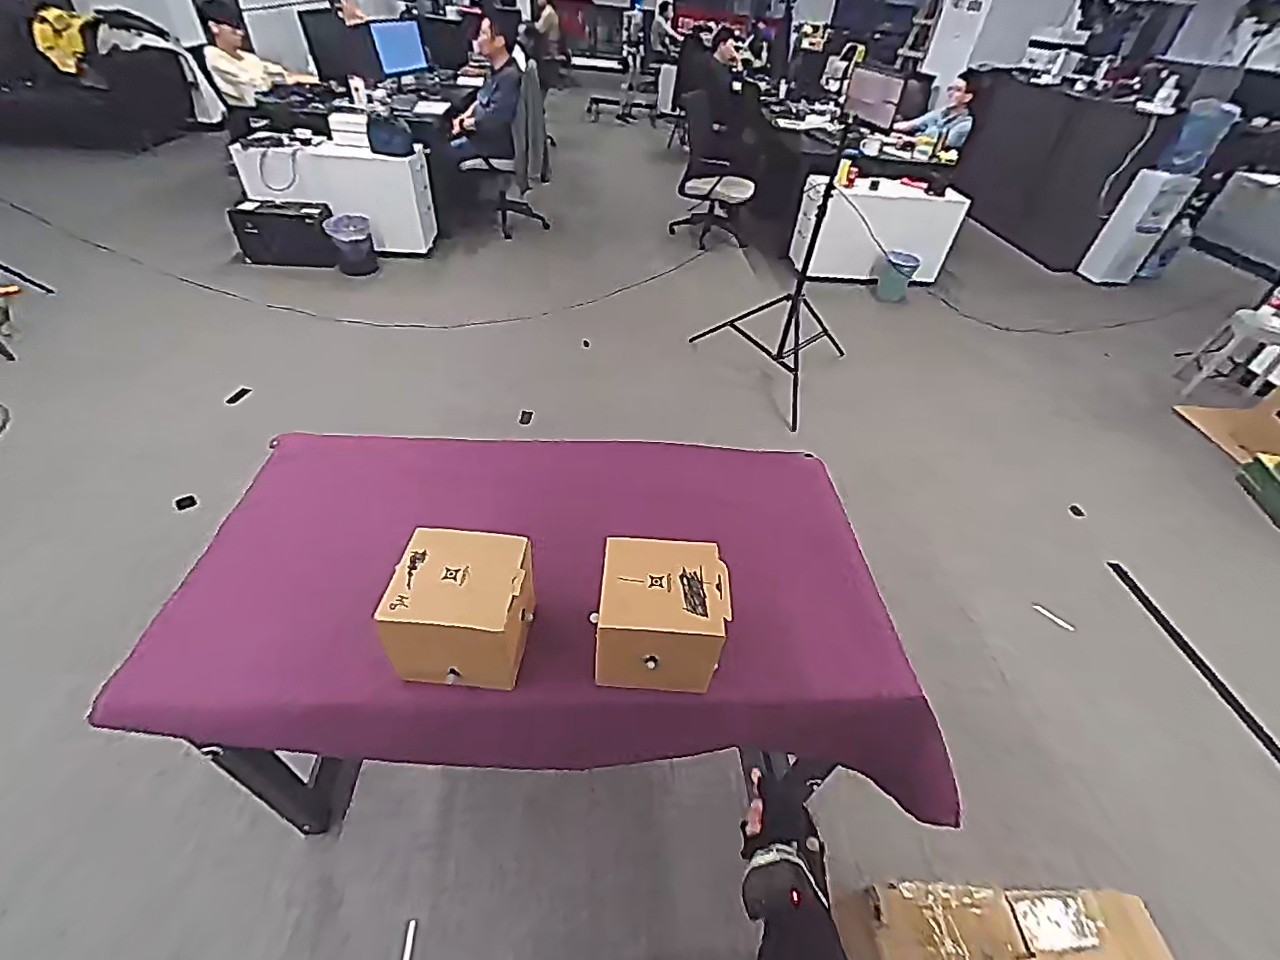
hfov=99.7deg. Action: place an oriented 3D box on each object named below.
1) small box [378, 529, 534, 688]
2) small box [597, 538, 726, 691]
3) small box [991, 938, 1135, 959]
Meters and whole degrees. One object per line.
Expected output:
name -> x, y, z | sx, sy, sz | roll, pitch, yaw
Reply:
small box -> -0.263, 0.199, 0.825 | 0.179, 0.176, 0.168 | 6, 42, -1
small box -> 0.028, 0.212, 0.844 | 0.179, 0.176, 0.168 | 4, 42, -1
small box -> 0.466, 0.634, 0.589 | 0.168, 0.176, 0.179 | -3, 44, -6
